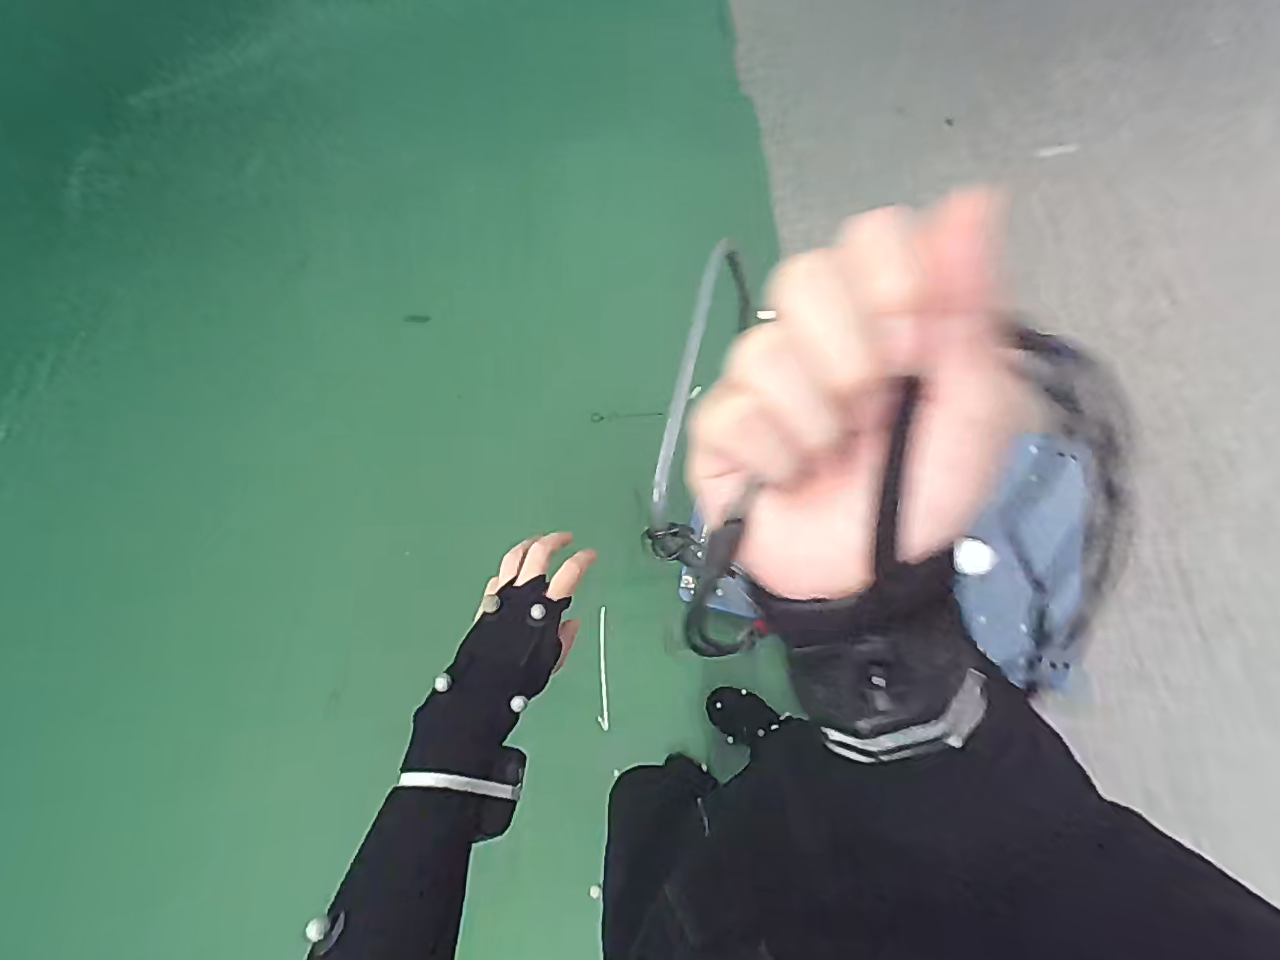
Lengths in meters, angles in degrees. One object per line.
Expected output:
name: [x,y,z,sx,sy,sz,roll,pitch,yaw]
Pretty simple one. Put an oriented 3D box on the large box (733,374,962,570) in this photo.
large box: [0.430,-0.006,1.203,0.408,0.320,0.320,11,76,12]
